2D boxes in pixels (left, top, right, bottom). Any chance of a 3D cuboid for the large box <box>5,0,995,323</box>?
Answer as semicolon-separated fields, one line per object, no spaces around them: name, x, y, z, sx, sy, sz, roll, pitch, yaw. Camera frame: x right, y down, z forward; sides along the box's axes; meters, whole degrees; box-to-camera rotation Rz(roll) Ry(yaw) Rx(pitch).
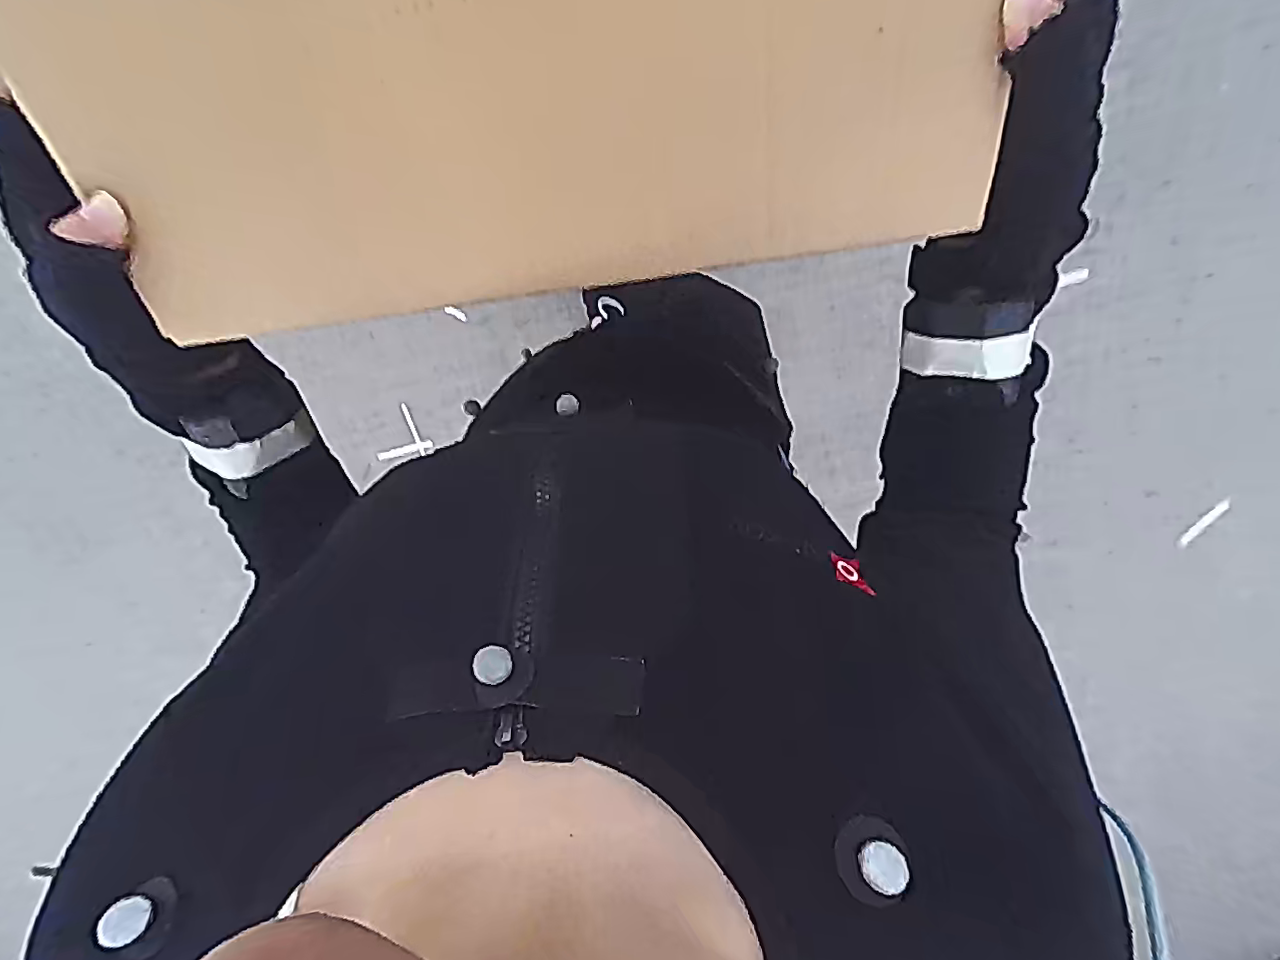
large box;-0.064;-0.316;0.320;0.408;0.320;0.320;-7;123;3
